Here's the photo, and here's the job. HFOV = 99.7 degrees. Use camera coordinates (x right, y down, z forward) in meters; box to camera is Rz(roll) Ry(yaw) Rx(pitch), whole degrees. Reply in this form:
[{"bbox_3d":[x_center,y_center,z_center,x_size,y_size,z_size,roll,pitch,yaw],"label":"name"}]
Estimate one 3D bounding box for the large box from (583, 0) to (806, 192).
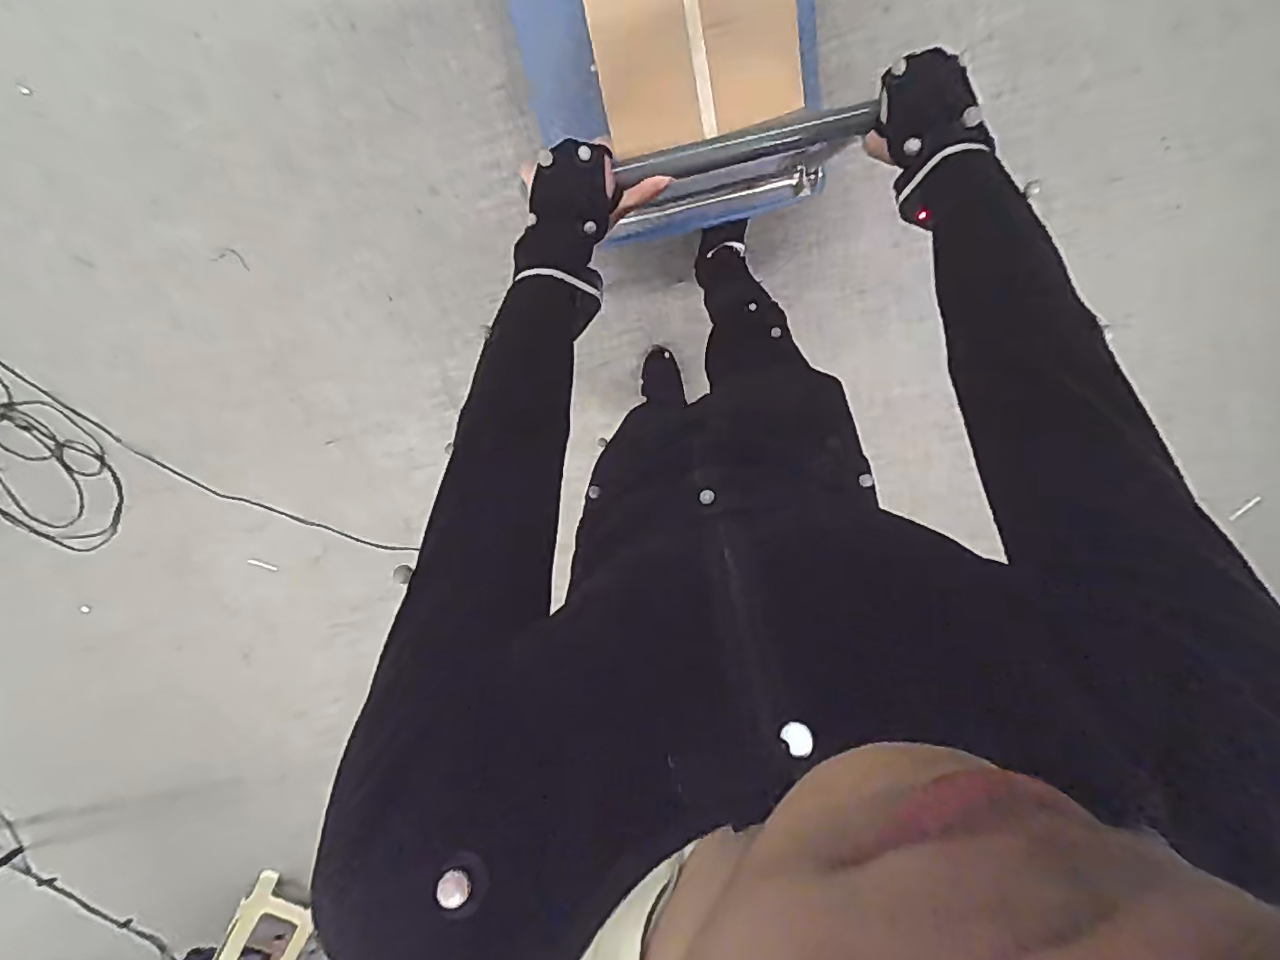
[{"bbox_3d":[0.081,-0.777,0.953,0.320,0.320,0.408,-11,113,6],"label":"large box"}]
